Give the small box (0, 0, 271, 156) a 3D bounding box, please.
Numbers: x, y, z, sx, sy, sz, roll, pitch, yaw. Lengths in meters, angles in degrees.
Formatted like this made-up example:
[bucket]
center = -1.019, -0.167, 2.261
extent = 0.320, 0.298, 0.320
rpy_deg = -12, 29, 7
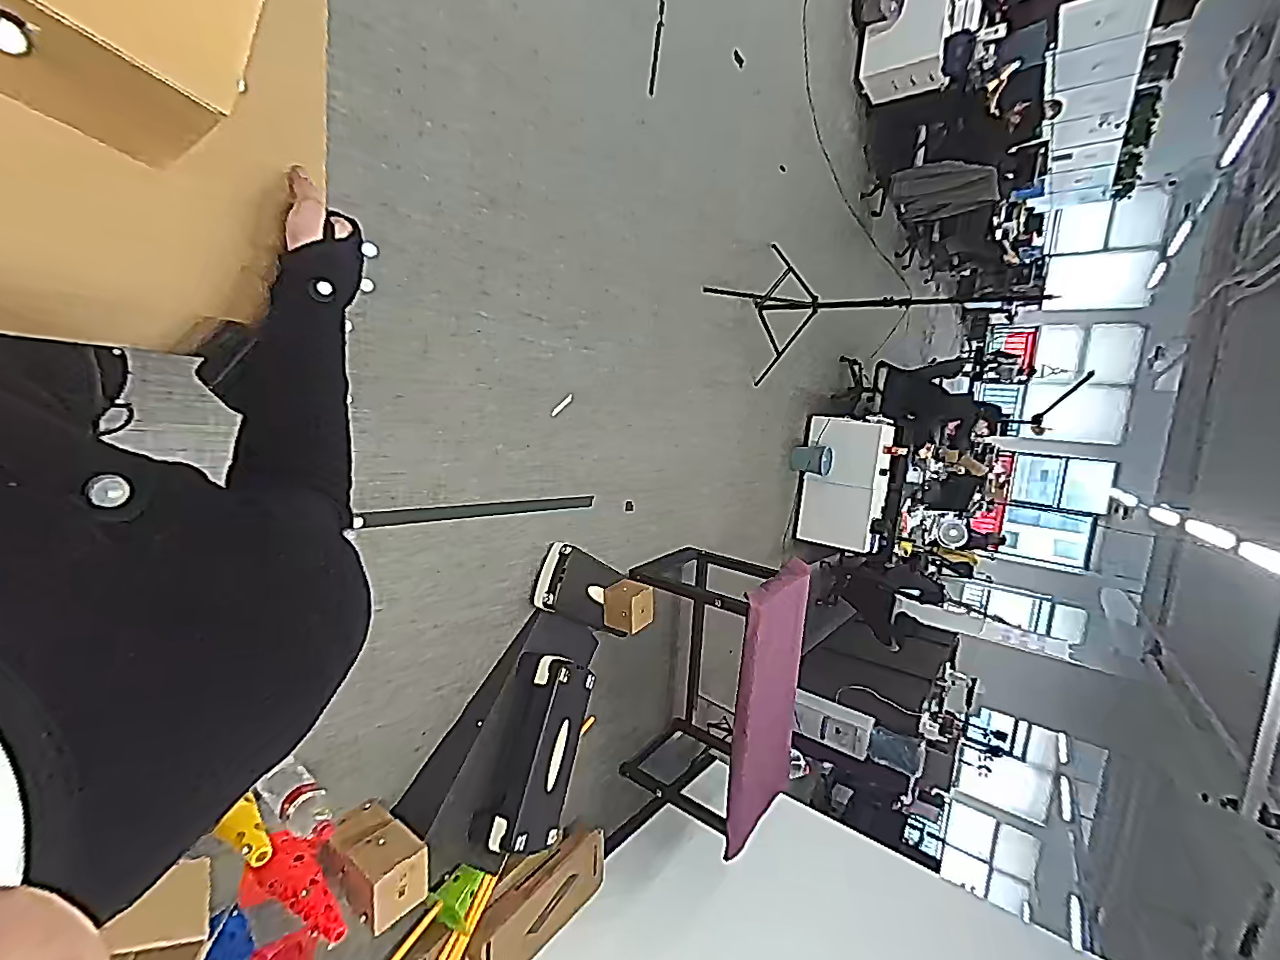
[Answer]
[small box]
center = -0.375, -0.348, 0.357
extent = 0.179, 0.176, 0.168
rpy_deg = 17, 84, -52
